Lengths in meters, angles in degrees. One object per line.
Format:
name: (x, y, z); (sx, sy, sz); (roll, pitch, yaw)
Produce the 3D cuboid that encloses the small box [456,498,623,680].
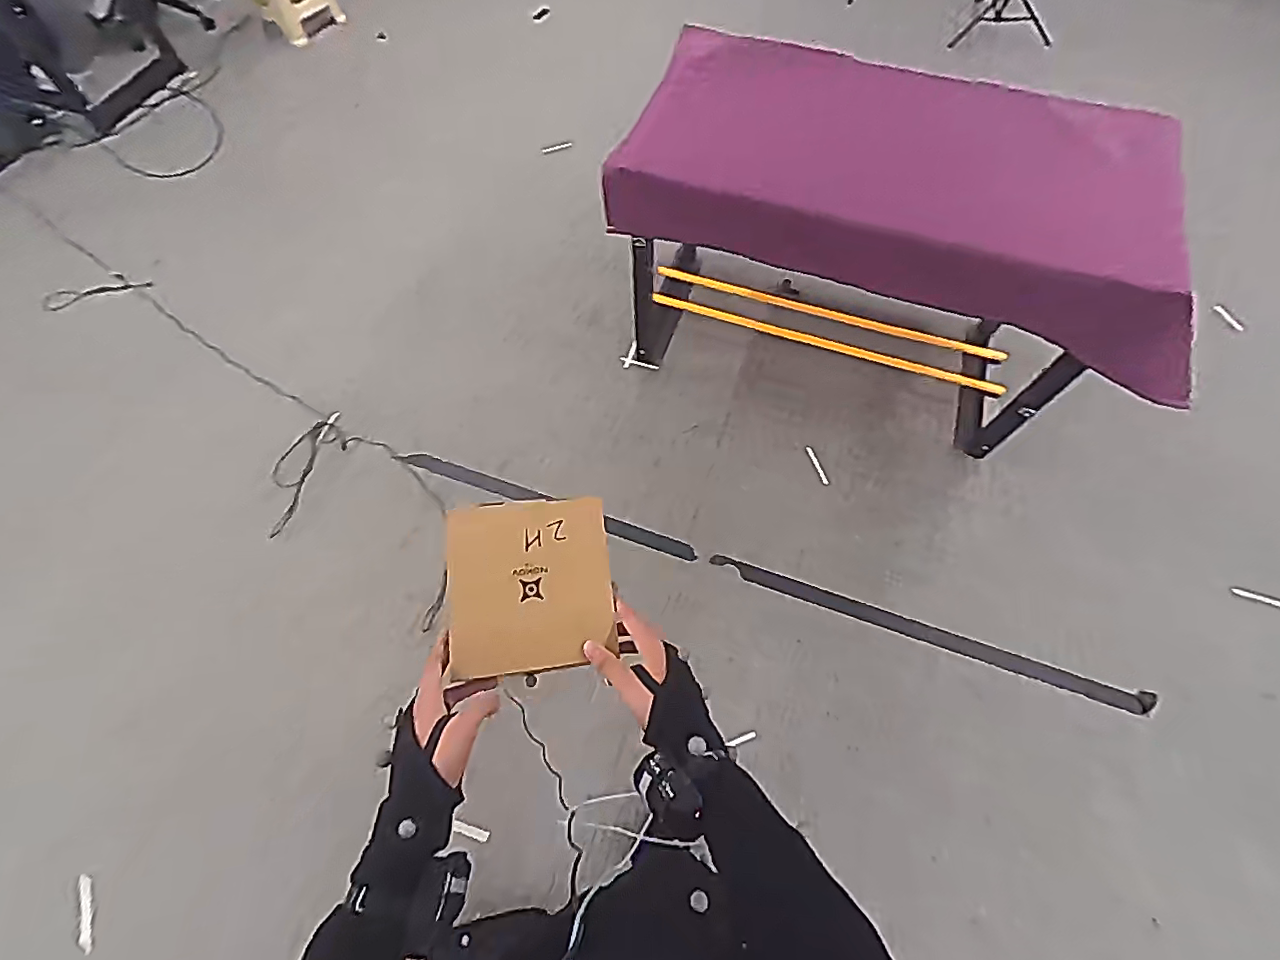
small box: (-0.119, 0.130, 0.628); (0.168, 0.176, 0.179); (-2, 71, -14)
